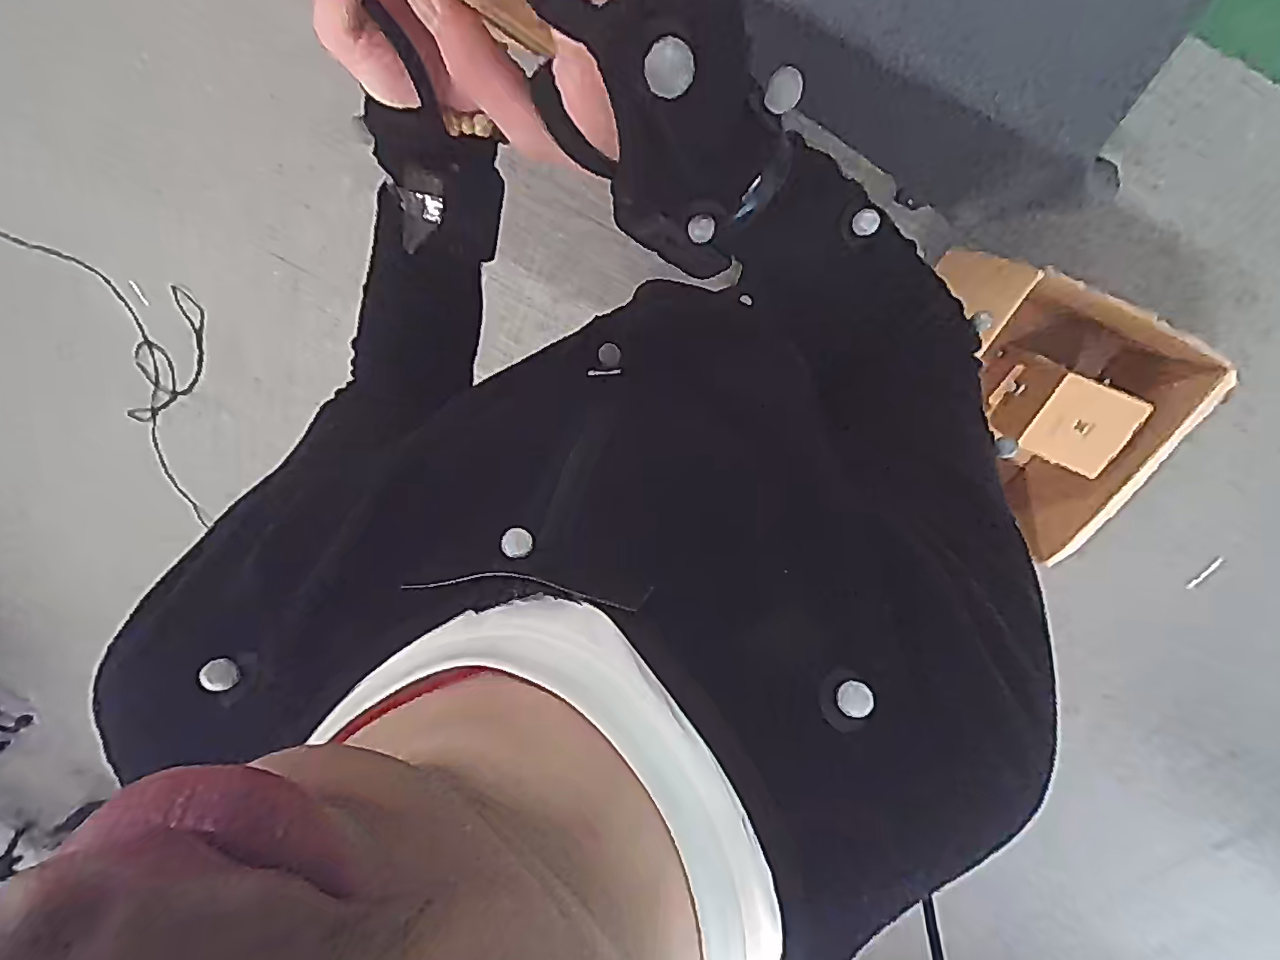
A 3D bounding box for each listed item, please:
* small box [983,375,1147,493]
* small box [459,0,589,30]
[{"bbox_3d":[0.869,-0.104,1.126,0.179,0.176,0.168,24,115,4],"label":"small box"},{"bbox_3d":[-0.083,-0.283,0.159,0.168,0.179,0.176,10,124,-38],"label":"small box"}]
